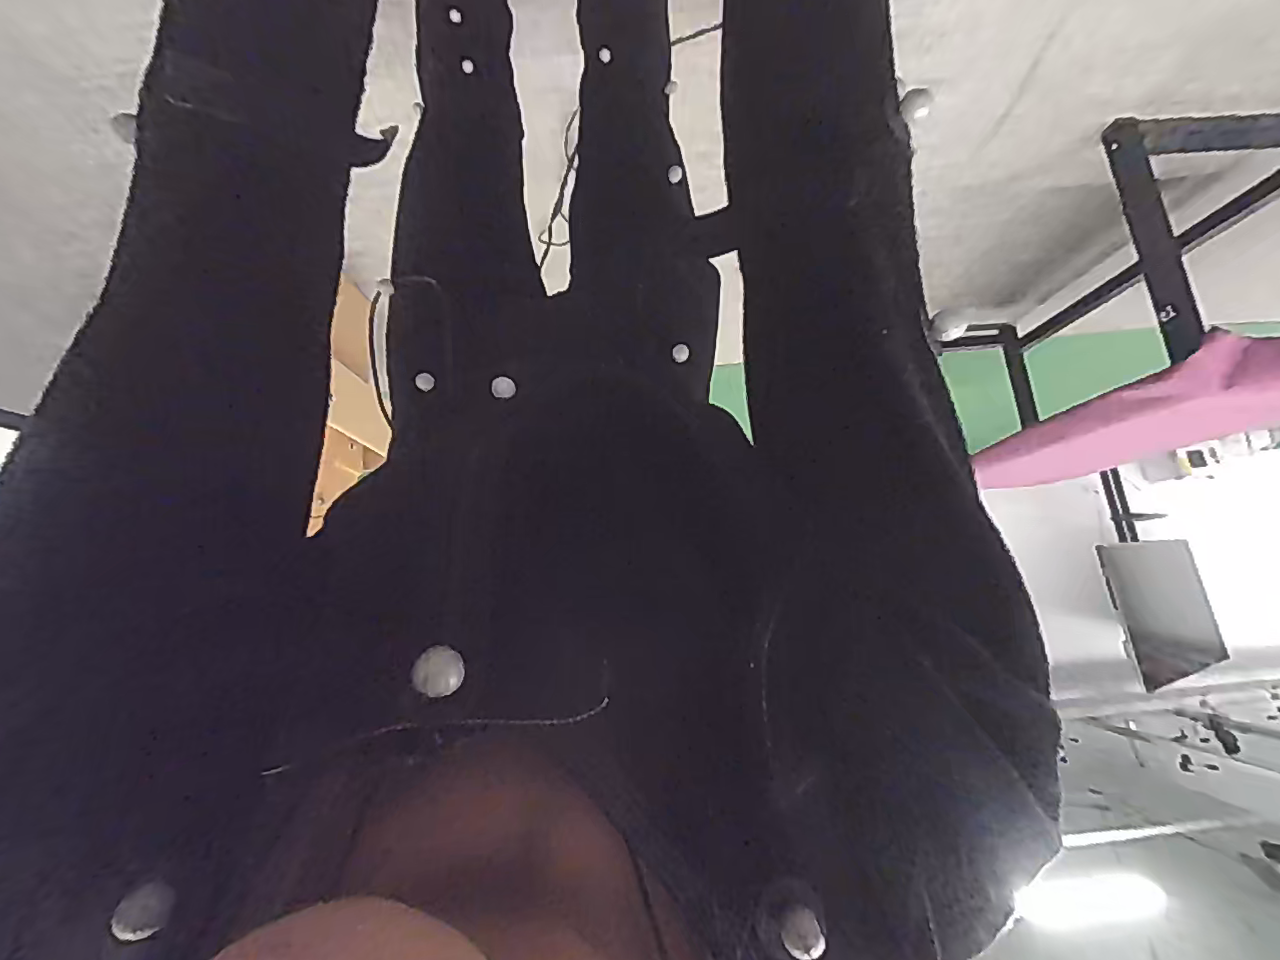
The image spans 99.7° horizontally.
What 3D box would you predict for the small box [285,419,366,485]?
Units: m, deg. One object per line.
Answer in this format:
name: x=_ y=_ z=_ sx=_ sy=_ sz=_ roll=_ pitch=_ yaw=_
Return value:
small box: x=-0.987 y=-0.090 z=1.710 sx=0.168 sy=0.176 sz=0.179 roll=-4 pitch=166 yaw=-3
